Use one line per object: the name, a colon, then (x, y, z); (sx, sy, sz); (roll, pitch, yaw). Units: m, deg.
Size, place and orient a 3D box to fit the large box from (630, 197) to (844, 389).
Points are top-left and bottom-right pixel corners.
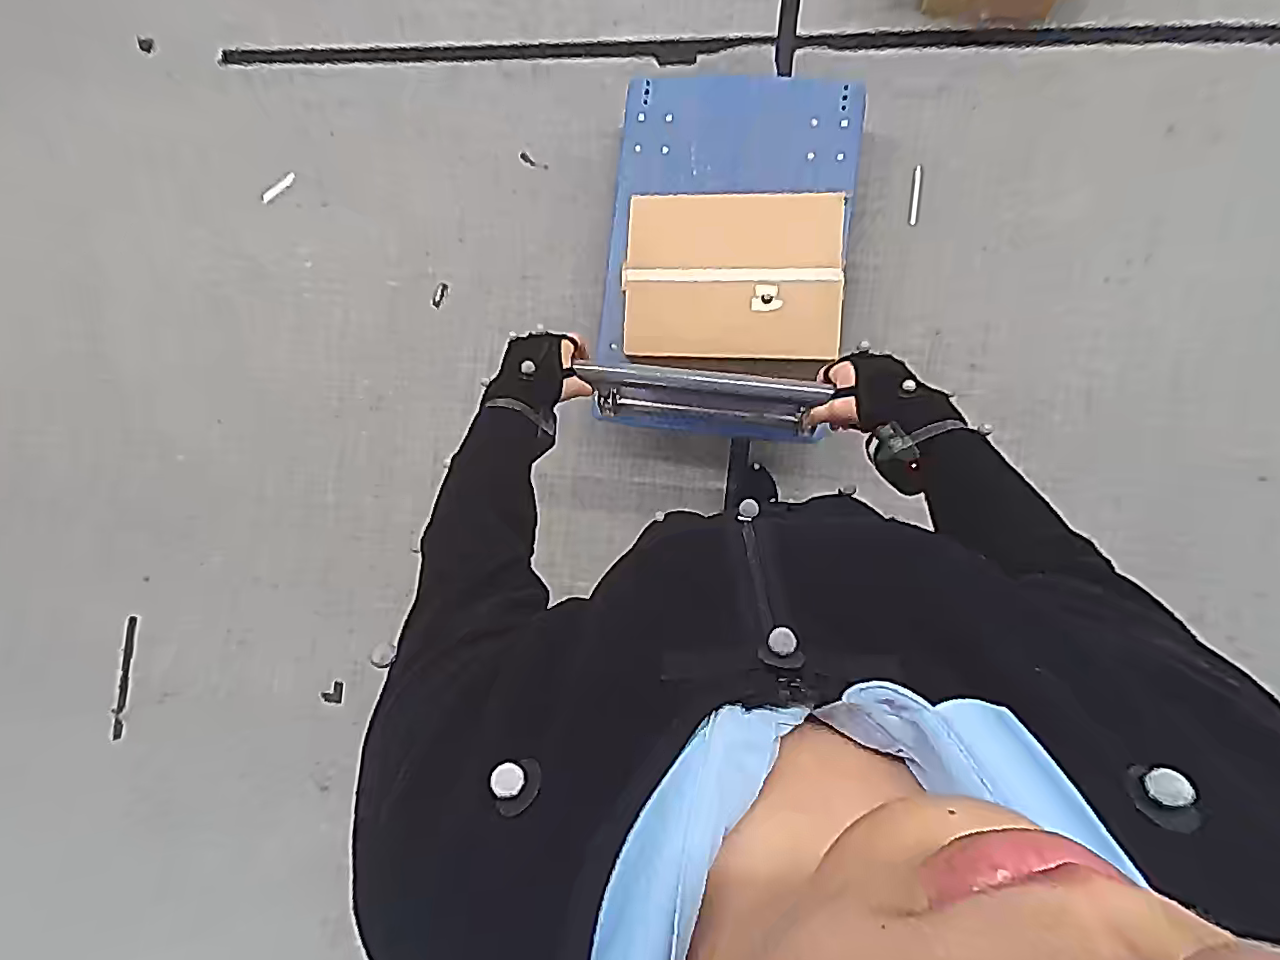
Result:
large box: (0.194, -0.381, 1.179); (0.408, 0.320, 0.320); (3, 90, 6)
